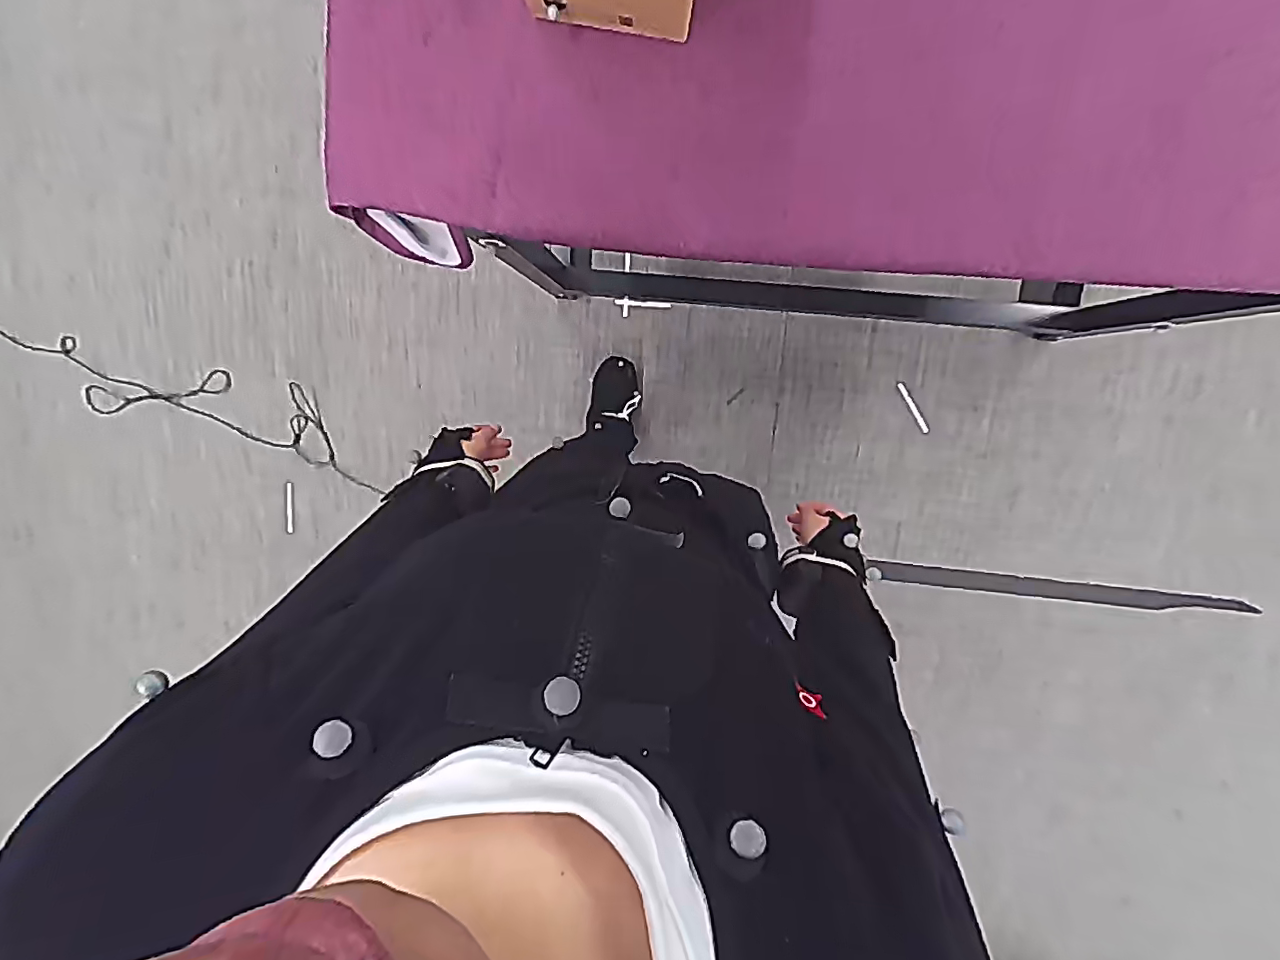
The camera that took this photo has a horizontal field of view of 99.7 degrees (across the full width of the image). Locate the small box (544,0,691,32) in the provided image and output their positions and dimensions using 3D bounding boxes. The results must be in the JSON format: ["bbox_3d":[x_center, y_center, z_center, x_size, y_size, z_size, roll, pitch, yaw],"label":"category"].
[{"bbox_3d":[-0.024,-0.536,0.462,0.168,0.176,0.179,11,101,1],"label":"small box"}]
